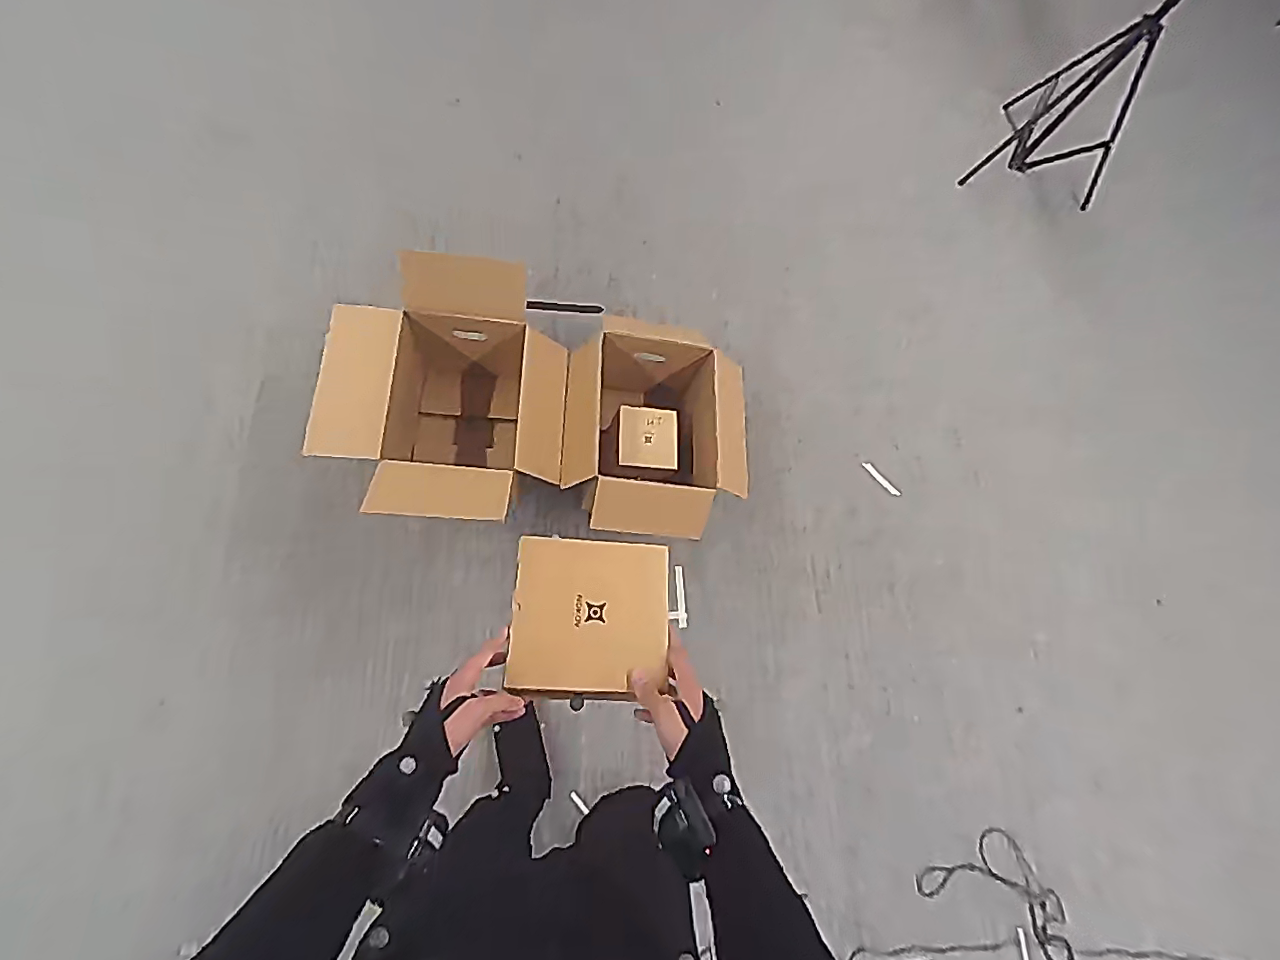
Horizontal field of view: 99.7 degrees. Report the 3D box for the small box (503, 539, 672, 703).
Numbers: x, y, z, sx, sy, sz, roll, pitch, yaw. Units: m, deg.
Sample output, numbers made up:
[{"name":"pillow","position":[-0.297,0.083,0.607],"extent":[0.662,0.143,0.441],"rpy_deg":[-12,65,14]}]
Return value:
[{"name":"small box","position":[-0.062,0.180,0.662],"extent":[0.179,0.176,0.168],"rpy_deg":[4,66,-6]}]
